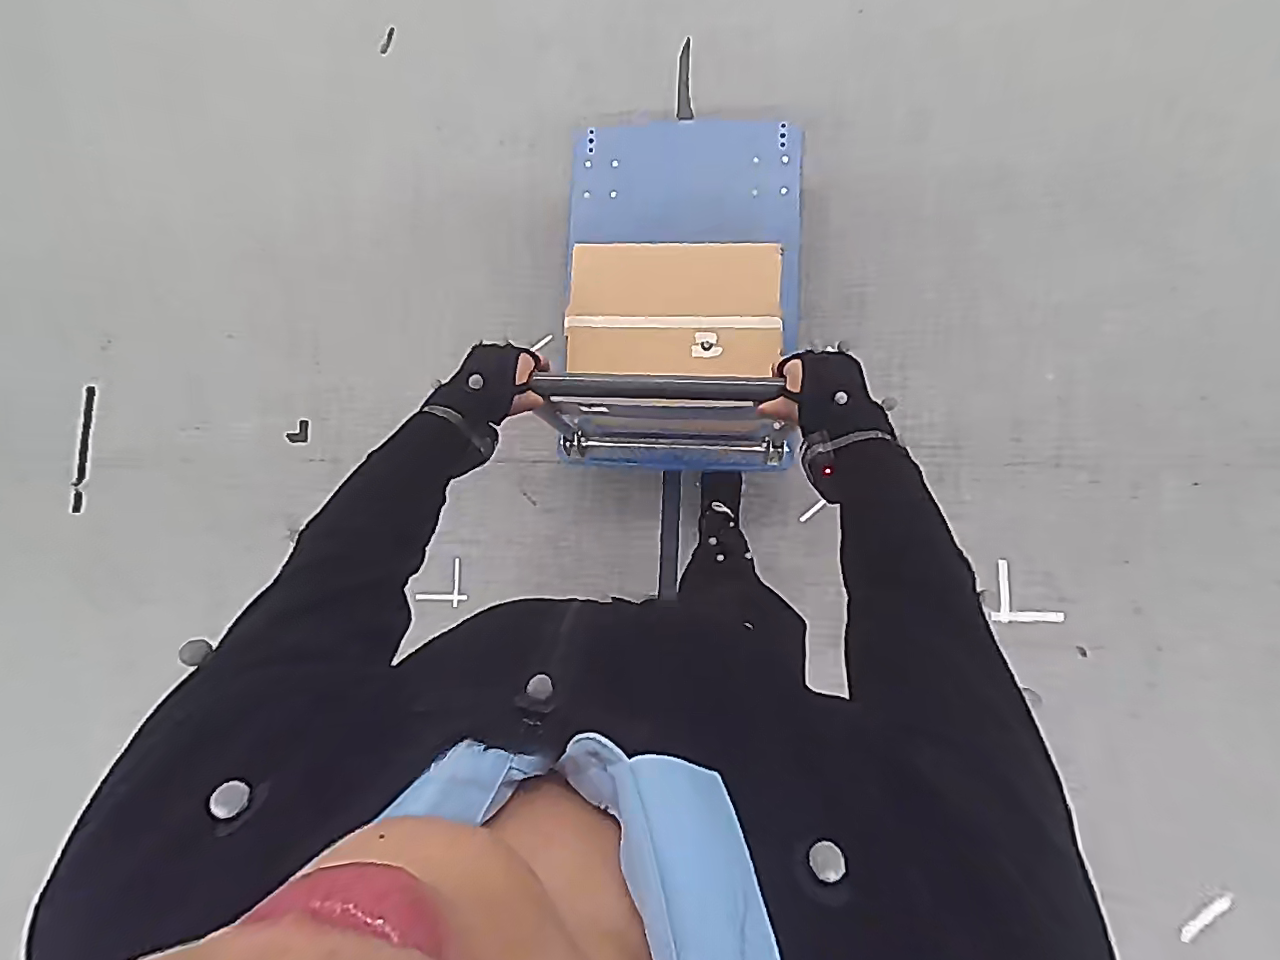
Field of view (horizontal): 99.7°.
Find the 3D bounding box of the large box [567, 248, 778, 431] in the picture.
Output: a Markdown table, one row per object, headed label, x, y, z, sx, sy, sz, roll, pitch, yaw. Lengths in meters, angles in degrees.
| label | x | y | z | sx | sy | sz | roll | pitch | yaw |
| --- | --- | --- | --- | --- | --- | --- | --- | --- | --- |
| large box | 0.070 | -0.281 | 1.175 | 0.408 | 0.320 | 0.320 | 2 | 87 | 5 |
